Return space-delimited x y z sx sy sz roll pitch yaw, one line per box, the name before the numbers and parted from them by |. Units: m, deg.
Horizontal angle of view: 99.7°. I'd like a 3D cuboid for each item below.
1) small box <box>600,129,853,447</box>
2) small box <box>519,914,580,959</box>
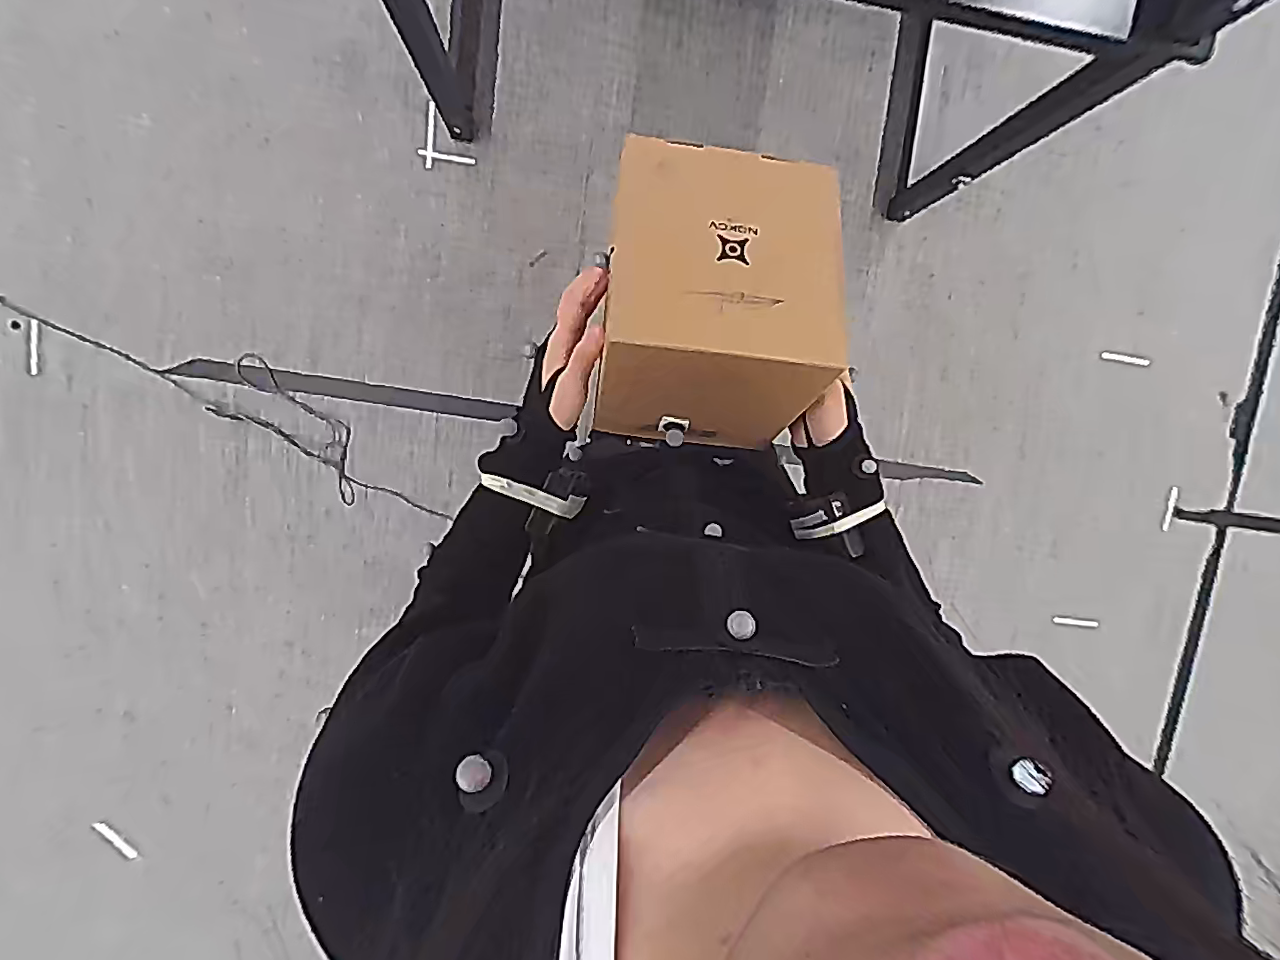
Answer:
small box | 0.057 -0.143 0.452 0.168 0.176 0.179 5 74 -6
small box | -0.268 1.425 1.578 0.168 0.176 0.179 10 97 -8
